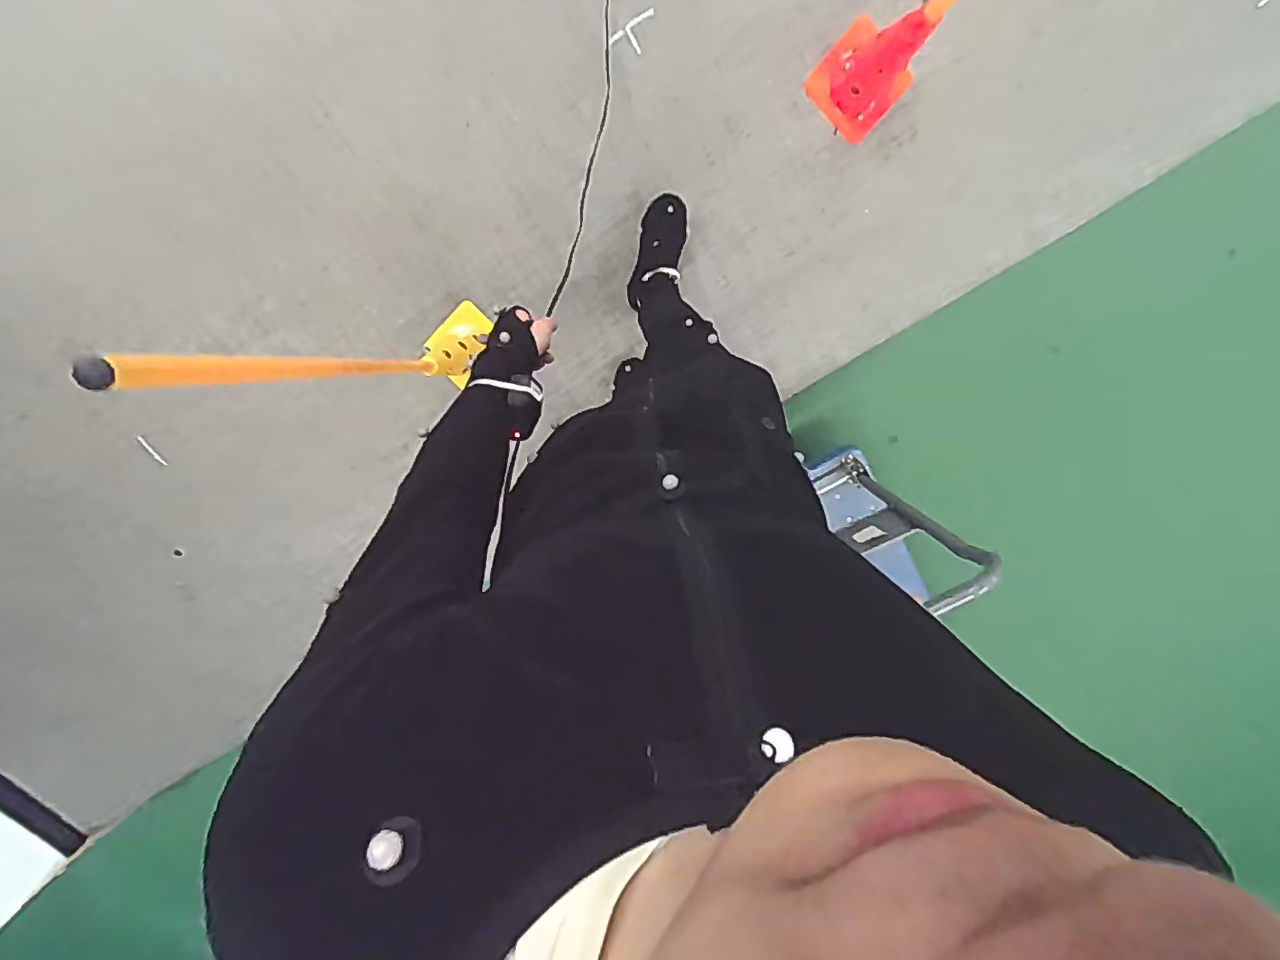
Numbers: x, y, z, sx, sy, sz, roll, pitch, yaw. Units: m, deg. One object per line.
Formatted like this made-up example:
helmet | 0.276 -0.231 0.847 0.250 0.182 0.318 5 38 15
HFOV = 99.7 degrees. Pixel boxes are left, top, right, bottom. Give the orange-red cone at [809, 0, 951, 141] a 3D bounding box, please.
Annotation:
orange-red cone | 0.539 -0.909 1.142 0.198 0.360 0.199 41 102 -14
